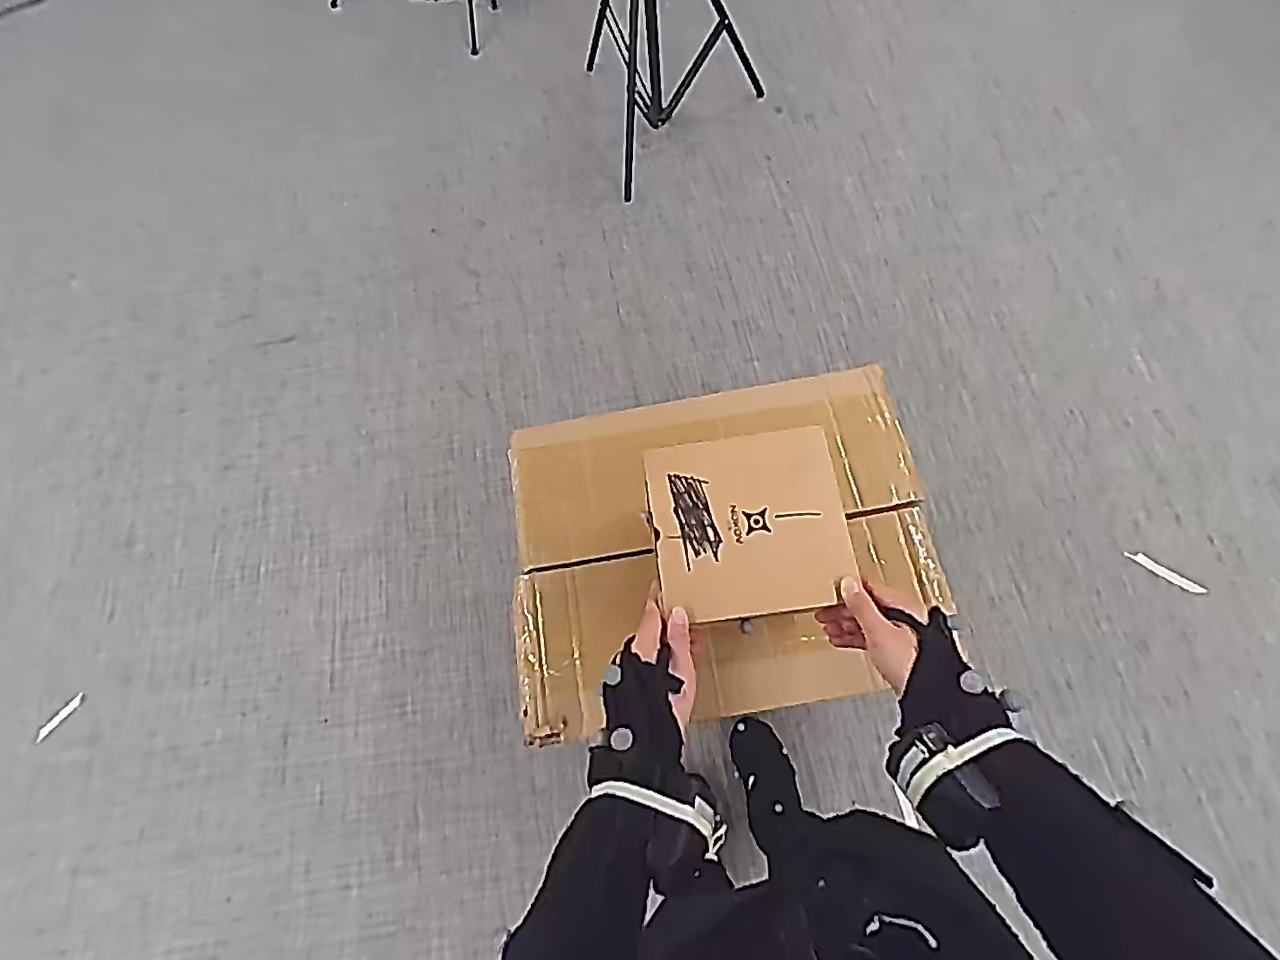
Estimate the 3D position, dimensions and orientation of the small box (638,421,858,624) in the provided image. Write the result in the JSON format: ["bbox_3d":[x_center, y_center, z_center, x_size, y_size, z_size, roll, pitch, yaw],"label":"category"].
[{"bbox_3d":[0.100,0.056,0.567,0.179,0.176,0.168,-8,73,1],"label":"small box"}]
